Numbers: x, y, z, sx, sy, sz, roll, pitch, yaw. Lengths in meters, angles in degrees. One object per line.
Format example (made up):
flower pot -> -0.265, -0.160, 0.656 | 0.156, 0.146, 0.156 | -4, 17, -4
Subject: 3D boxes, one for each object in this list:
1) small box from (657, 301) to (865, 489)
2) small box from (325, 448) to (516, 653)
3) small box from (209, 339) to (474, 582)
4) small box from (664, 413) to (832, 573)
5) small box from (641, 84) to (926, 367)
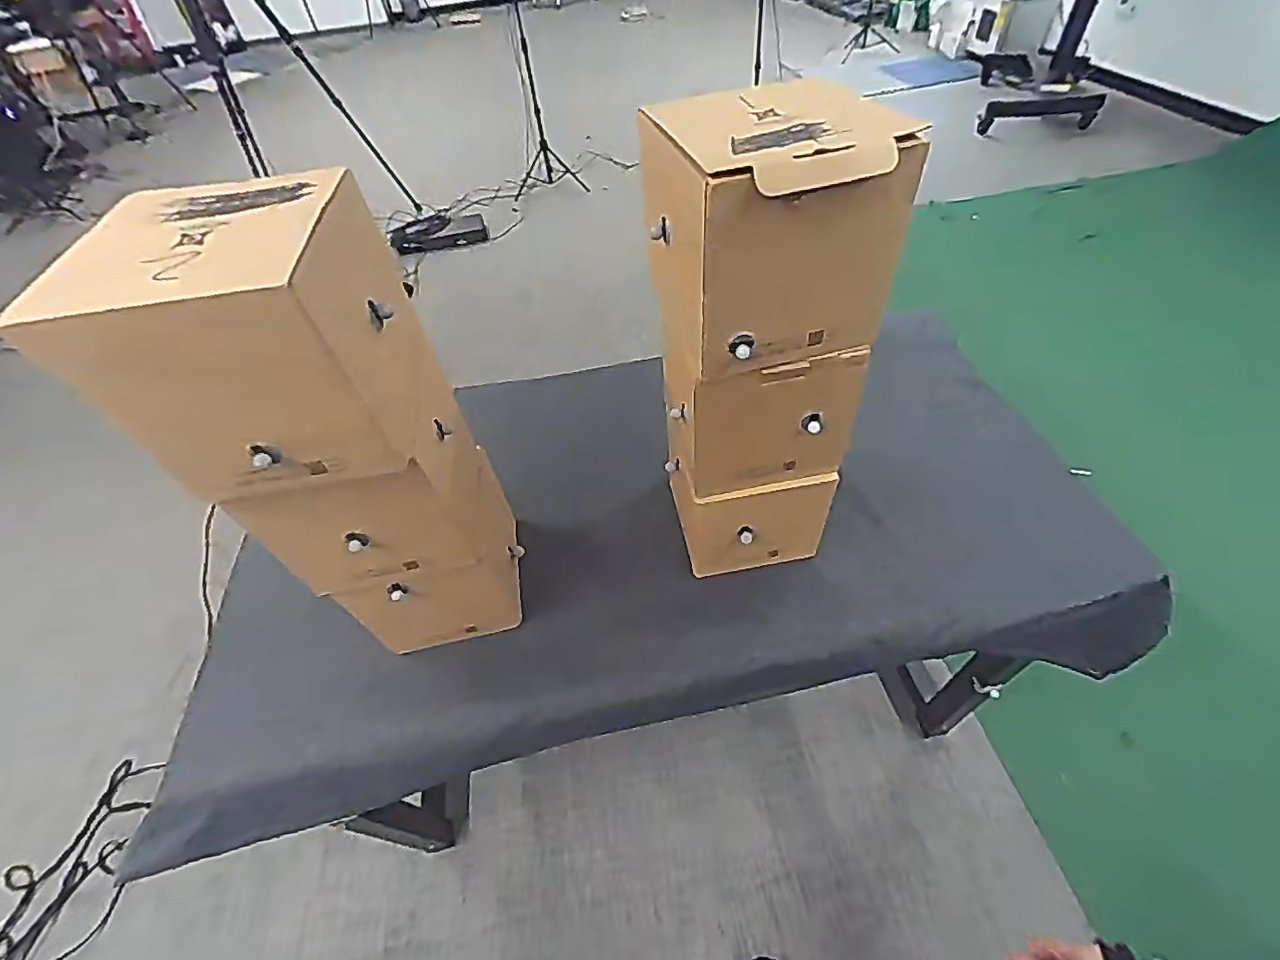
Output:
small box -> 0.117, -0.105, 0.596 | 0.168, 0.176, 0.179 | -10, 48, -4
small box -> -0.257, 0.089, 0.678 | 0.168, 0.176, 0.179 | -12, 49, -5
small box -> -0.274, -0.012, 0.548 | 0.168, 0.176, 0.179 | -10, 49, -5
small box -> 0.131, 0.008, 0.712 | 0.168, 0.176, 0.179 | -10, 49, -2
small box -> 0.105, -0.216, 0.475 | 0.168, 0.176, 0.179 | -14, 49, -8
